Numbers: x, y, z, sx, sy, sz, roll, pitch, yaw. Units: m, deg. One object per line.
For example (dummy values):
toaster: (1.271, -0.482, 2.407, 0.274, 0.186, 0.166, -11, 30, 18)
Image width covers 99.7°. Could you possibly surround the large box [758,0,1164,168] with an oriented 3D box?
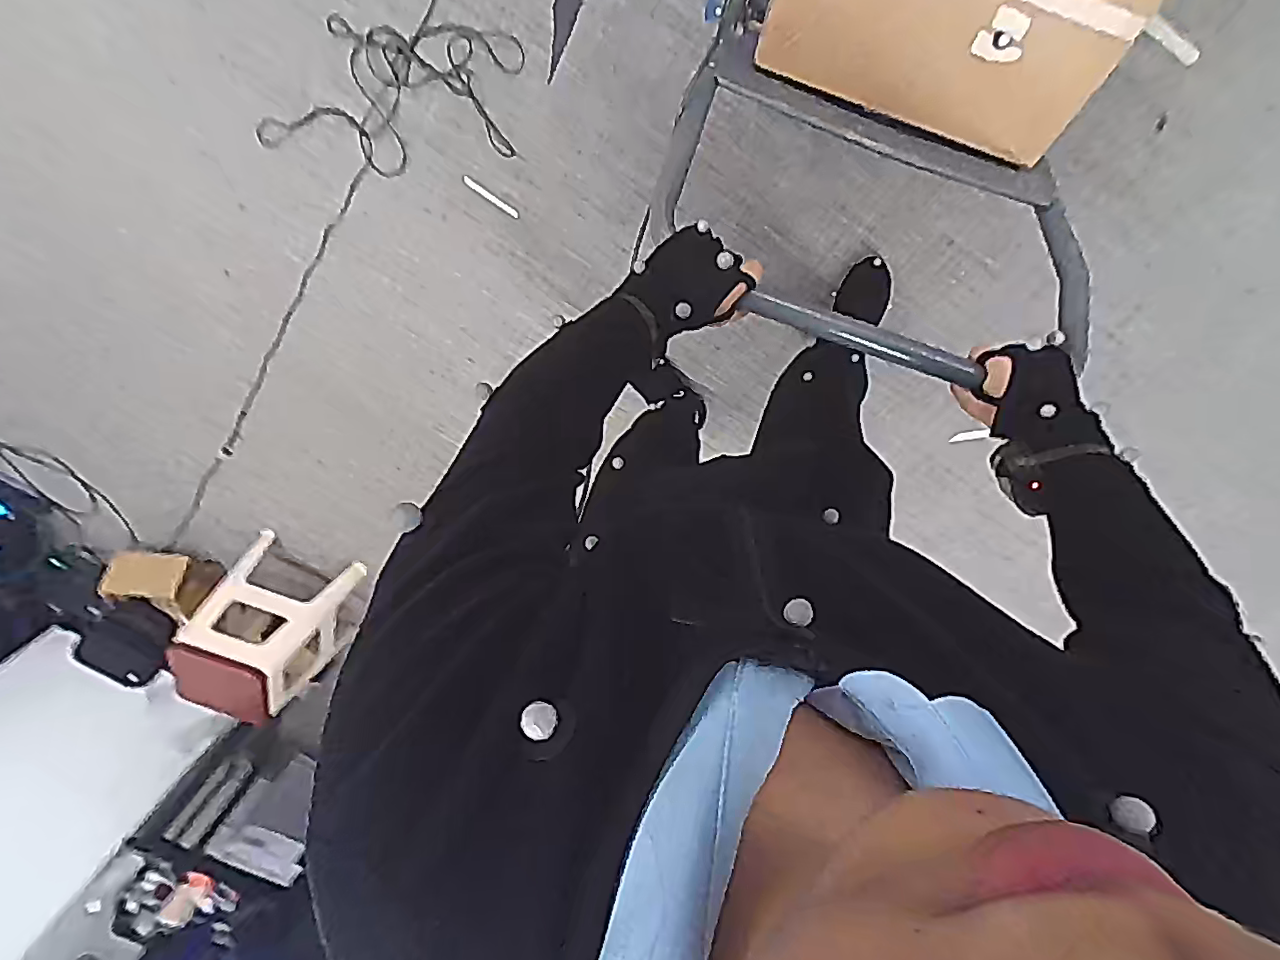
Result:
large box: (0.400, -0.678, 0.689, 0.408, 0.320, 0.320, 17, 144, -4)
